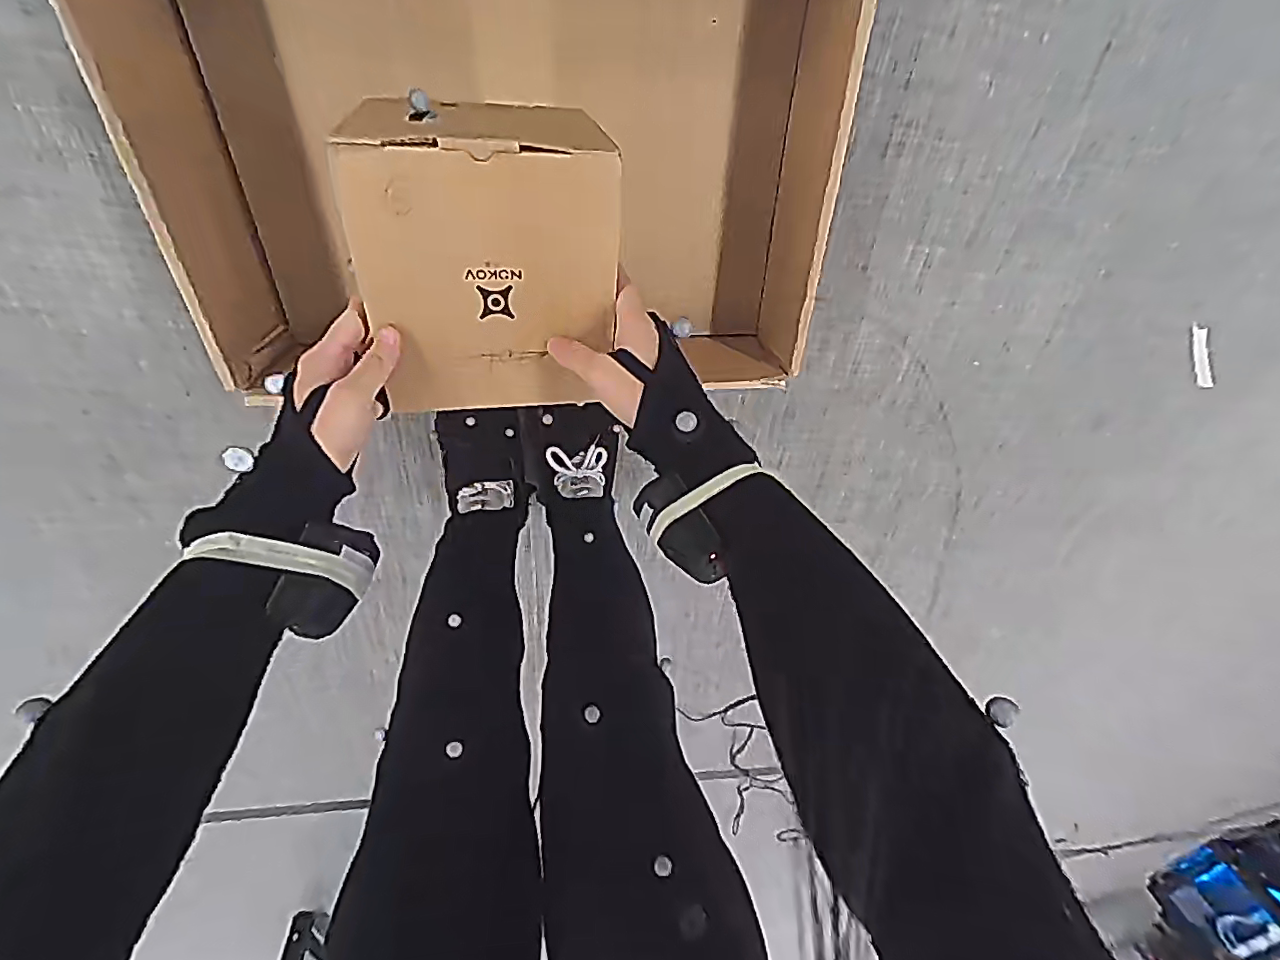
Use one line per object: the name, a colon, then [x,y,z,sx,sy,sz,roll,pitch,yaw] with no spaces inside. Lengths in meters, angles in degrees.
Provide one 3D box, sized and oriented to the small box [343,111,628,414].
small box: [-0.110,-0.174,0.425,0.168,0.176,0.179,-5,132,-12]
